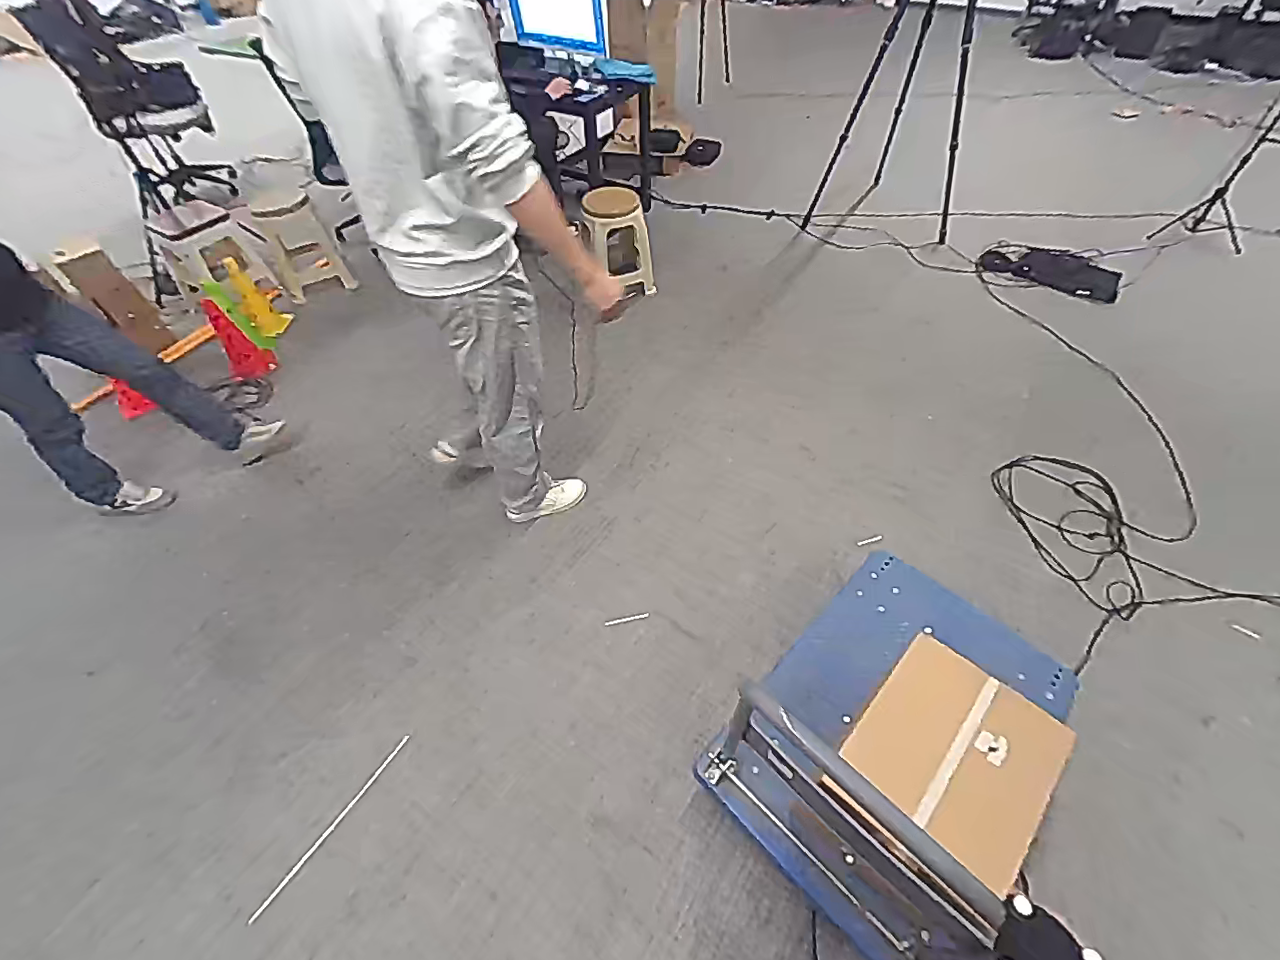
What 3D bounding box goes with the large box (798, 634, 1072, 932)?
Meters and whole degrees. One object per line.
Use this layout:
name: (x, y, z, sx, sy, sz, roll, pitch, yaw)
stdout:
large box: (0.587, 0.617, 1.122, 0.320, 0.320, 0.408, 36, 58, 27)
